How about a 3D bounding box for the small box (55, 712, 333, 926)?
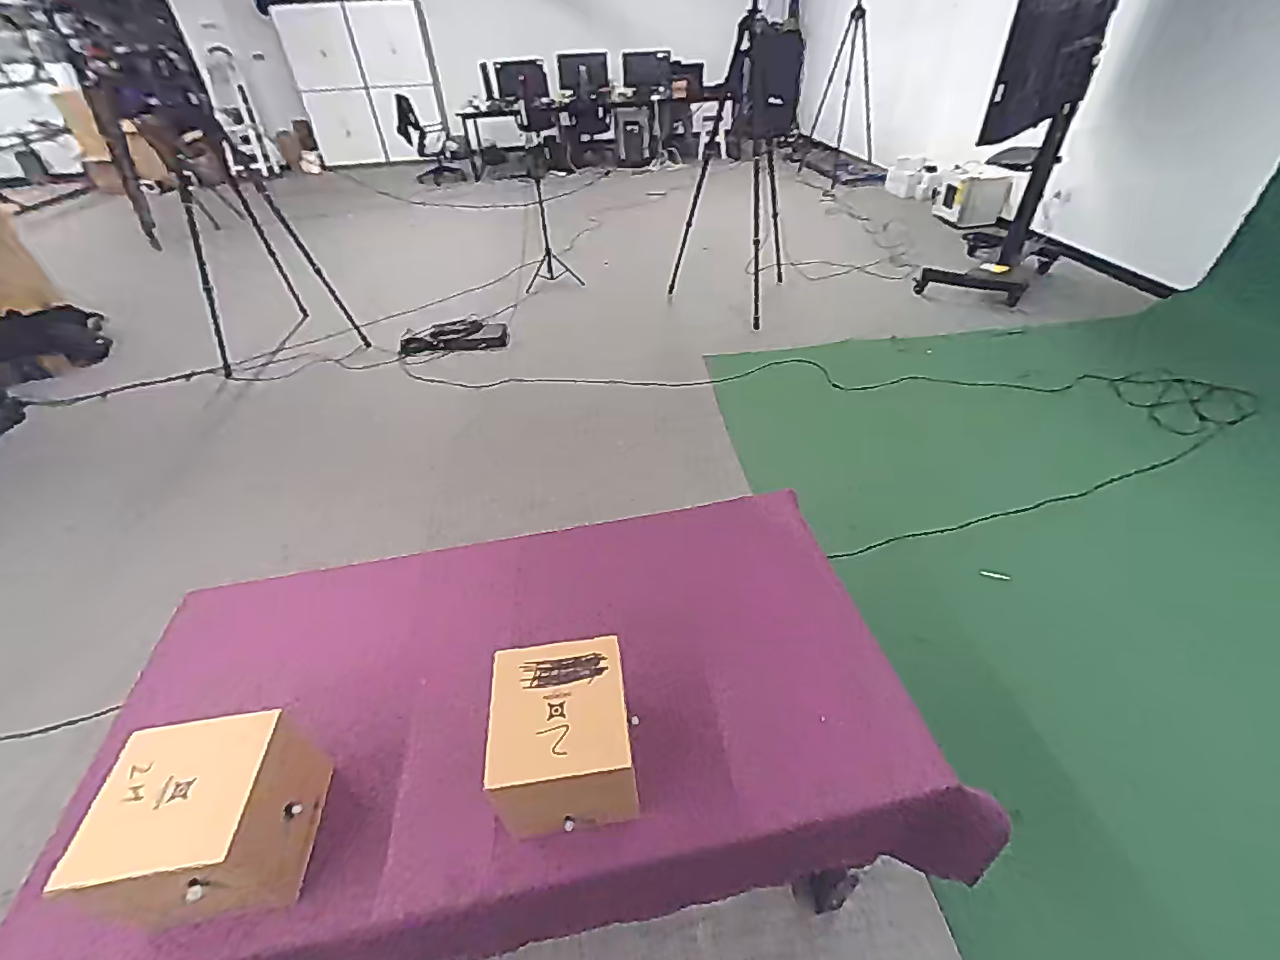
[{"bbox_3d":[-0.513,0.414,0.663,0.179,0.176,0.168,-8,40,-4],"label":"small box"}]
